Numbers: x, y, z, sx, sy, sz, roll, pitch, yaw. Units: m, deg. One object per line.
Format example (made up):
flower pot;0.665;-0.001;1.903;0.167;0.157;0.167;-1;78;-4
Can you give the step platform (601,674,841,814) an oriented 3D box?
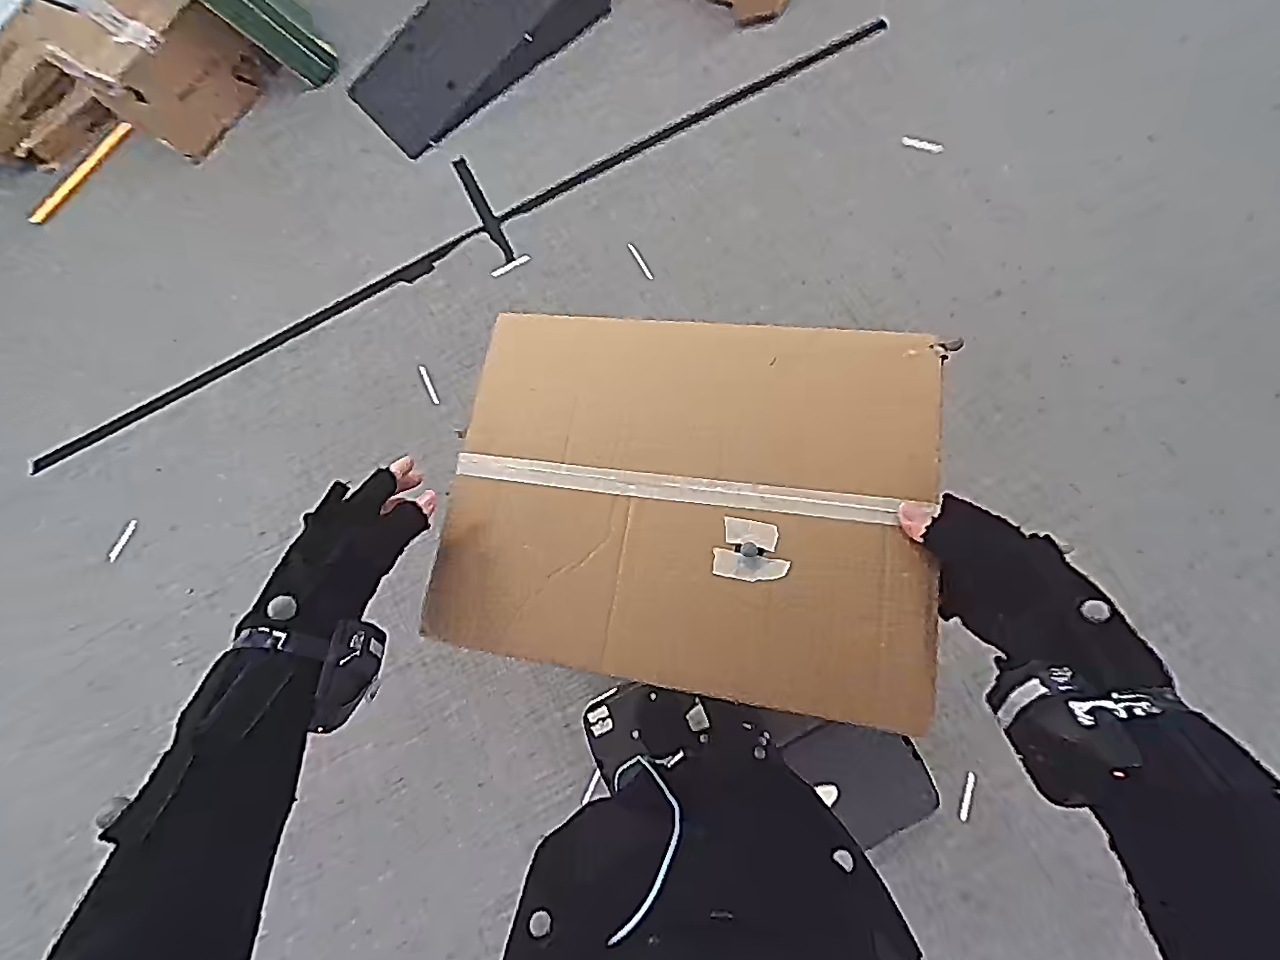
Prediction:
step platform;0.248;0.511;1.330;0.684;0.204;0.286;-29;74;-3

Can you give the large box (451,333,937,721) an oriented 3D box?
large box;0.070;0.053;0.619;0.408;0.320;0.320;7;77;14
